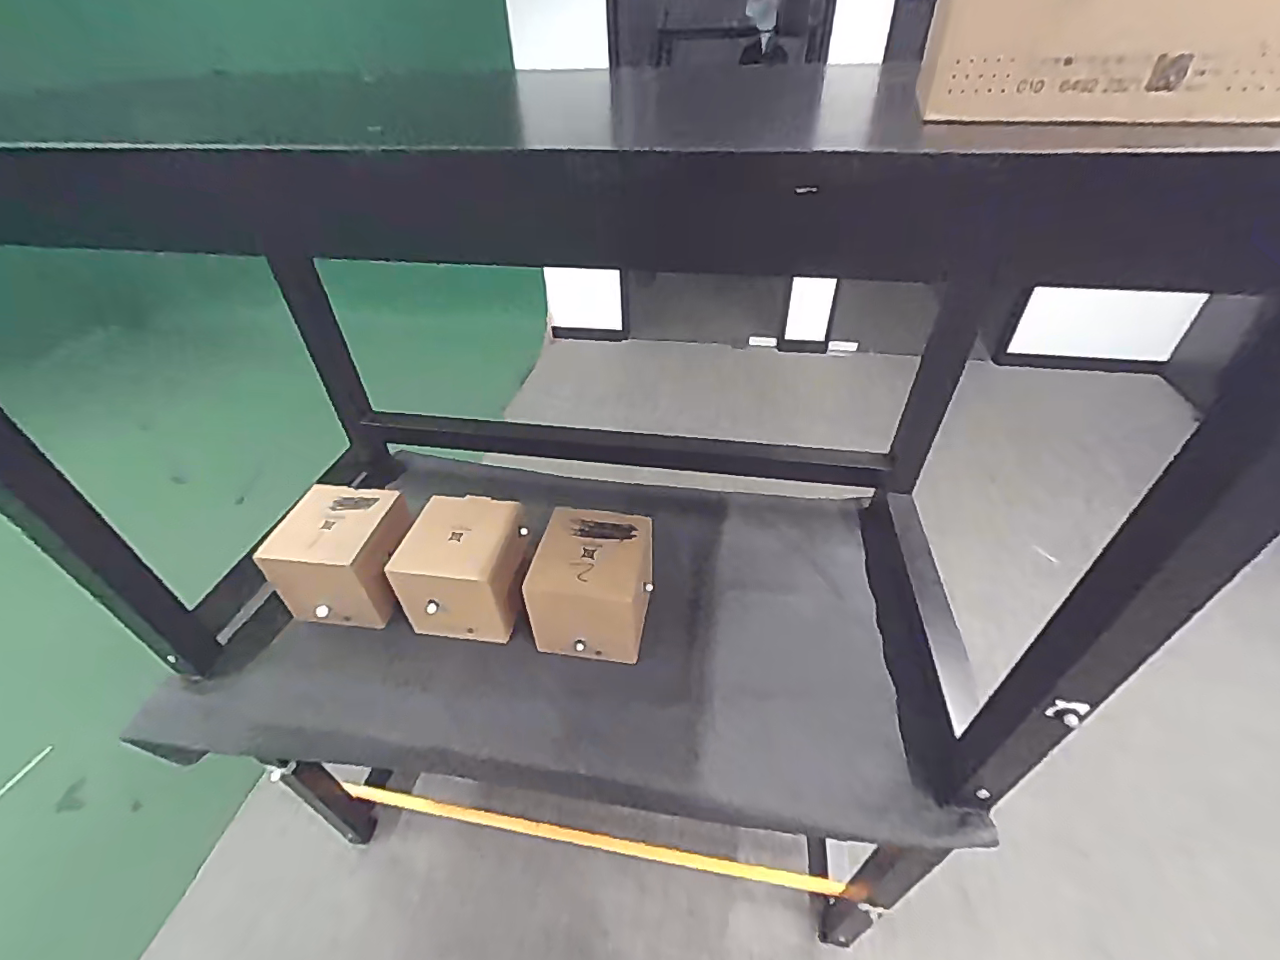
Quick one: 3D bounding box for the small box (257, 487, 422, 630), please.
[{"bbox_3d":[-0.505,0.135,0.946,0.168,0.176,0.179,3,40,7],"label":"small box"}]
